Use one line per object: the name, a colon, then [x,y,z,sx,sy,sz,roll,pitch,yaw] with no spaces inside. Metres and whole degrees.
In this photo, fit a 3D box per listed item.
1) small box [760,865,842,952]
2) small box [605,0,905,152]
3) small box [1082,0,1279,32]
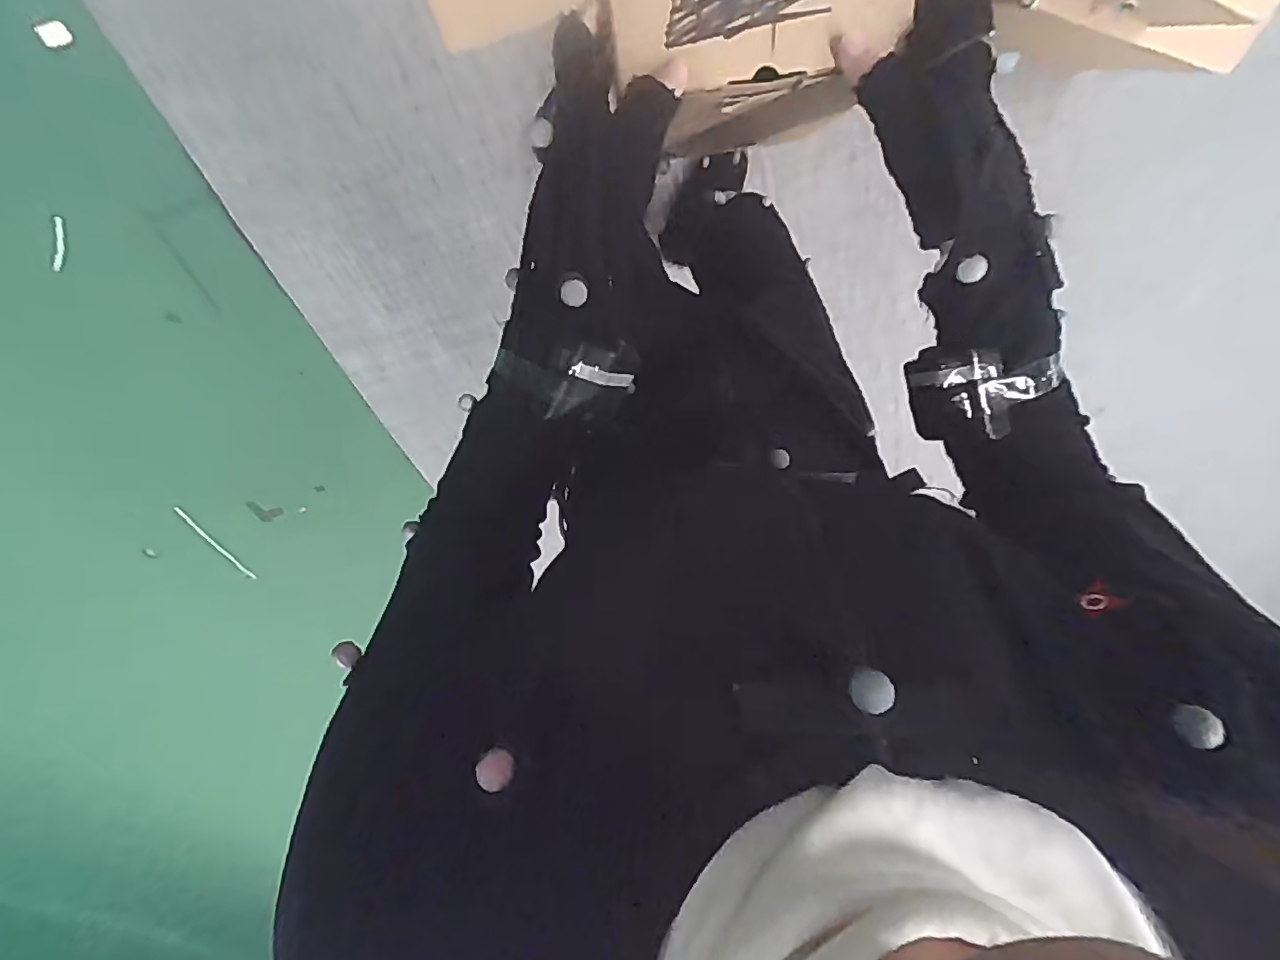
small box: [0.486,1.302,1.647,0.179,0.176,0.168,-22,129,11]
small box: [0.058,-0.336,0.356,0.168,0.176,0.179,-7,108,2]
small box: [0.728,-0.700,0.681,0.168,0.176,0.179,8,128,-13]
